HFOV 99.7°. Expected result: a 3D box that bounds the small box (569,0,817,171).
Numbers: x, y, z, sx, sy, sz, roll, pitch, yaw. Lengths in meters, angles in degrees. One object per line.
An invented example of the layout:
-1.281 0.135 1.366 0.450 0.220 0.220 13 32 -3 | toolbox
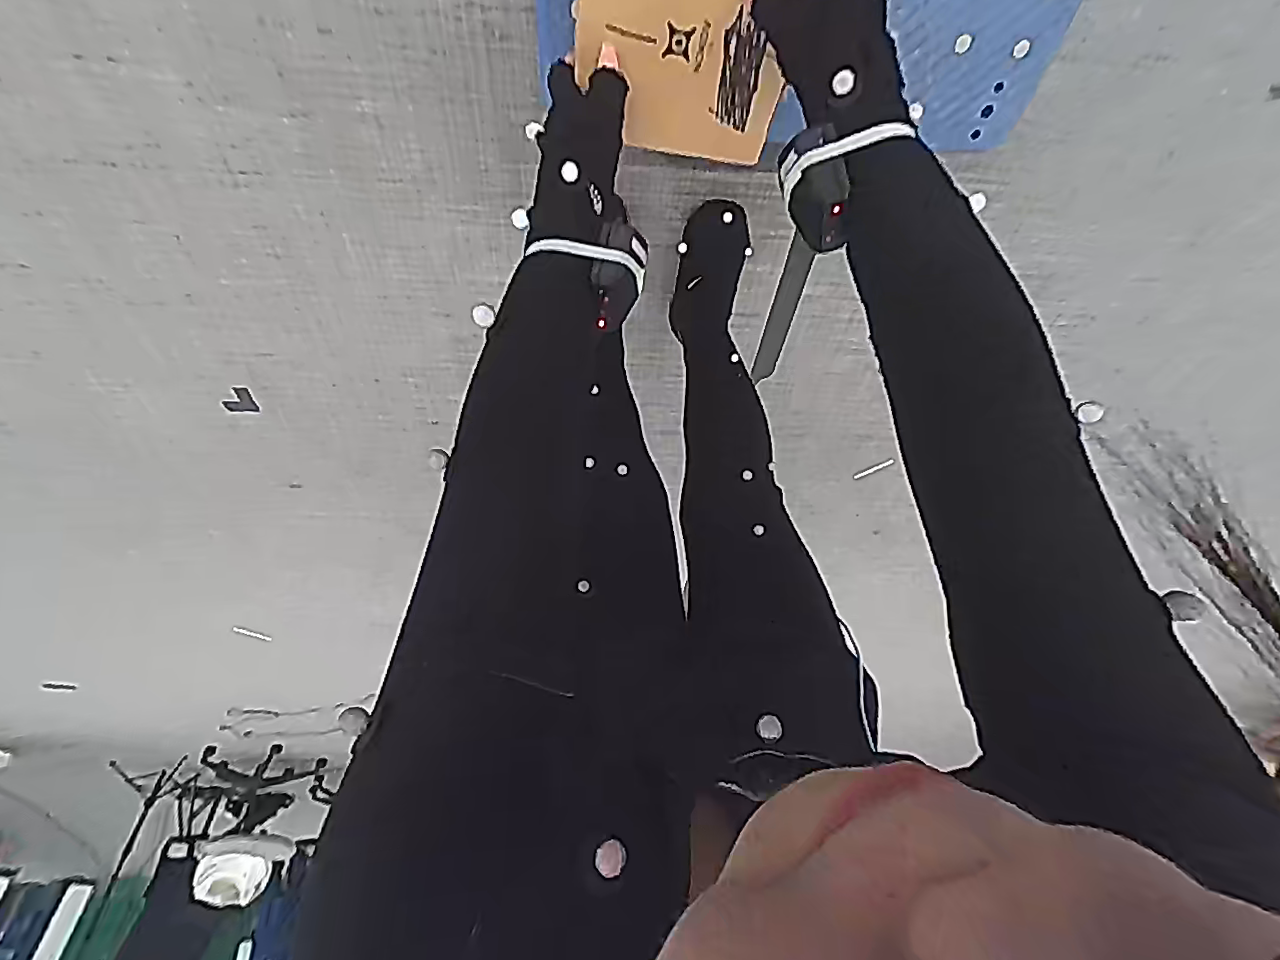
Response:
0.034 -0.405 0.464 0.179 0.176 0.168 4 151 -10 | small box
